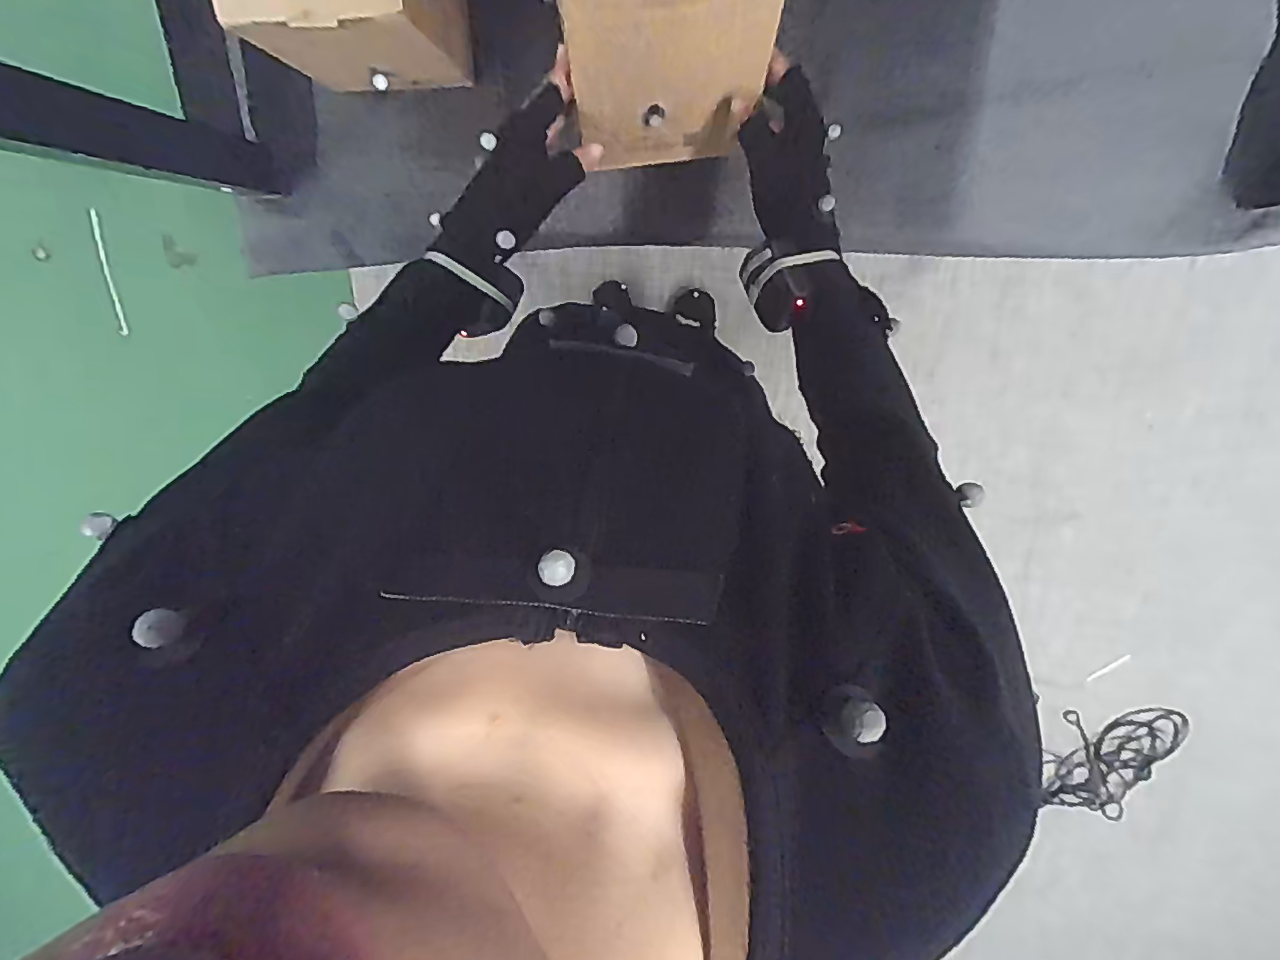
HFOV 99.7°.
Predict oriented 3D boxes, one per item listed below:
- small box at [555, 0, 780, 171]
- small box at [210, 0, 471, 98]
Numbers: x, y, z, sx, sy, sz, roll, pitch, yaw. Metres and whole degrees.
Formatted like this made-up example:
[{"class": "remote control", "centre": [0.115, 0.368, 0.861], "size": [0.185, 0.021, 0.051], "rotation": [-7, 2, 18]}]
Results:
[{"class": "small box", "centre": [0.011, -0.408, 0.467], "size": [0.168, 0.176, 0.179], "rotation": [-8, 75, -1]}, {"class": "small box", "centre": [-0.270, -0.485, 0.499], "size": [0.168, 0.176, 0.179], "rotation": [1, 109, 4]}]
